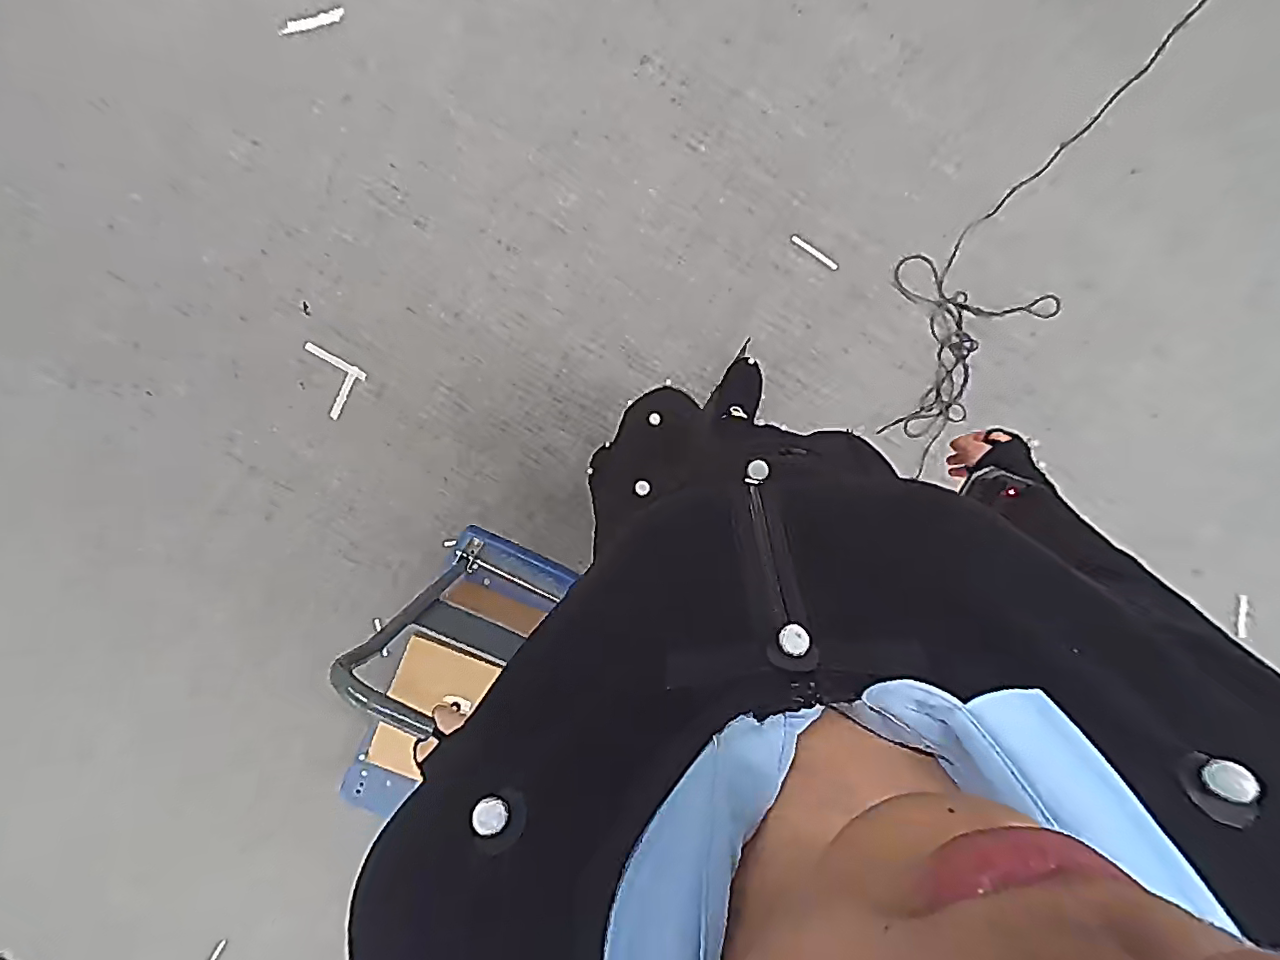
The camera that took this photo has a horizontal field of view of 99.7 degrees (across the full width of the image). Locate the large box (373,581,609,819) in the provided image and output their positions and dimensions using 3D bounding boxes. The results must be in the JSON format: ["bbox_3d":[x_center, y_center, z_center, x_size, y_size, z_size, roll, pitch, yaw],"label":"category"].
[{"bbox_3d":[-0.319,0.490,1.265,0.408,0.320,0.320,23,99,-3],"label":"large box"}]
